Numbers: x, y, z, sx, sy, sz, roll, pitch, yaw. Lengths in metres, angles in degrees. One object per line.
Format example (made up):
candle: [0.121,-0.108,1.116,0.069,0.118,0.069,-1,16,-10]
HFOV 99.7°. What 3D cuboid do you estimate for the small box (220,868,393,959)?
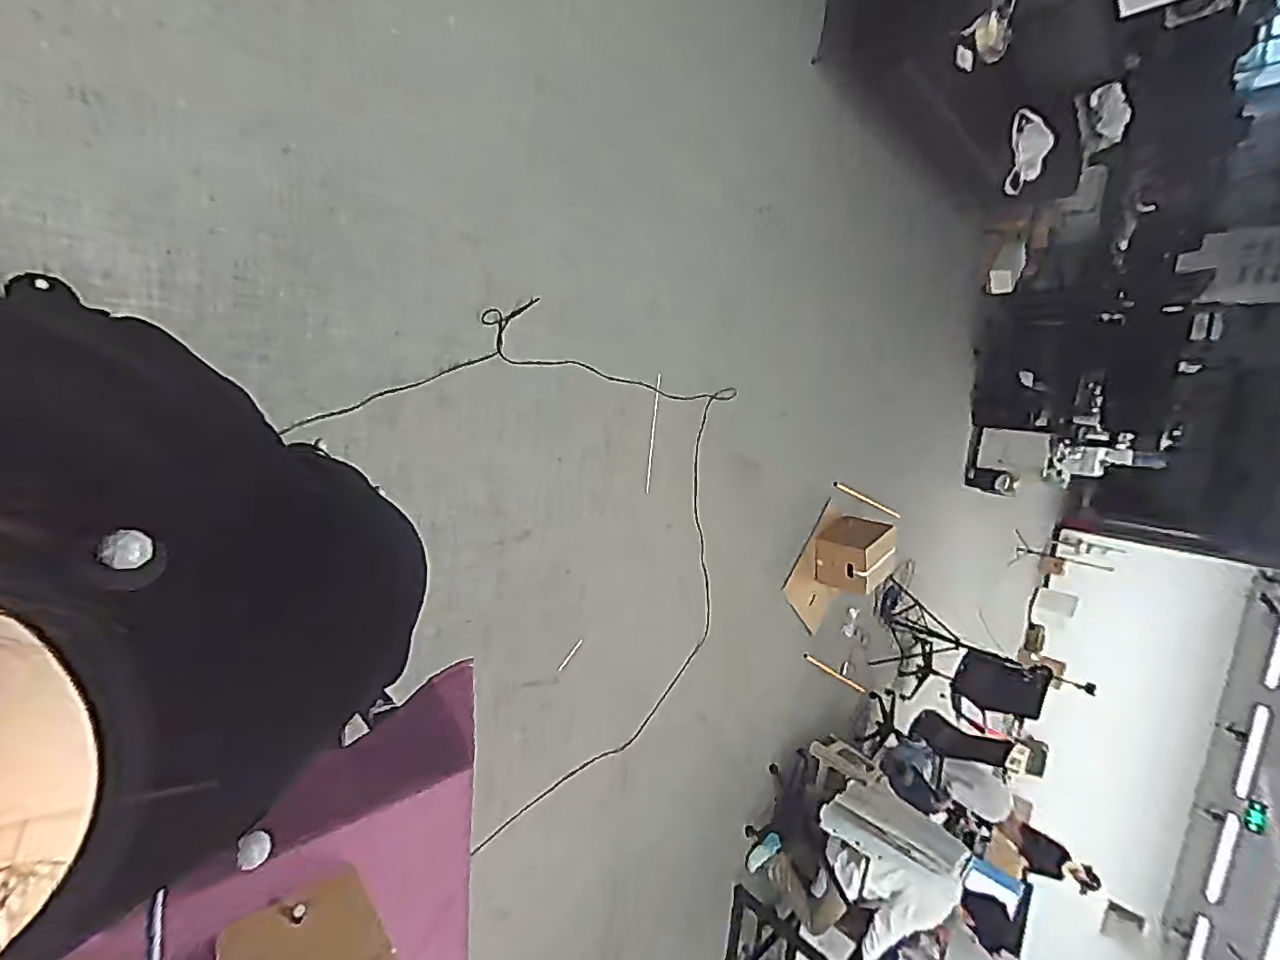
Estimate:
small box: [-0.455,0.689,0.732,0.179,0.176,0.168,-2,102,-43]
